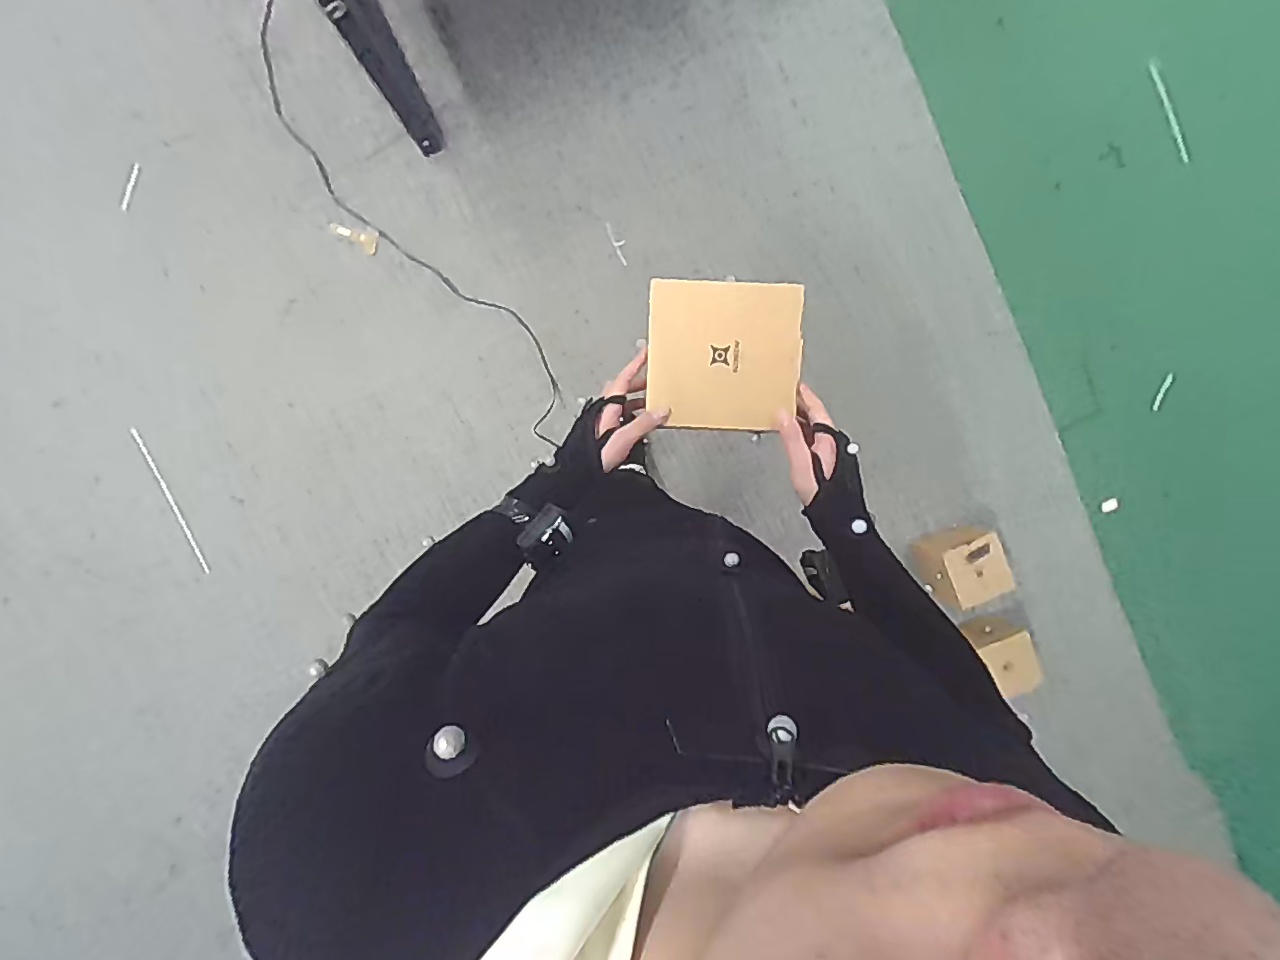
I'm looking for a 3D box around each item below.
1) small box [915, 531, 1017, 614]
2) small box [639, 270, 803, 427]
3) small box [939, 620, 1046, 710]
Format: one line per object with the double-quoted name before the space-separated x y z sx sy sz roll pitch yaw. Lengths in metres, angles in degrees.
"small box" 0.931 0.256 1.562 0.168 0.176 0.179 -22 94 1
"small box" 0.090 -0.153 0.679 0.179 0.176 0.168 2 95 0
"small box" 1.022 0.531 1.579 0.179 0.176 0.168 -21 93 -1
